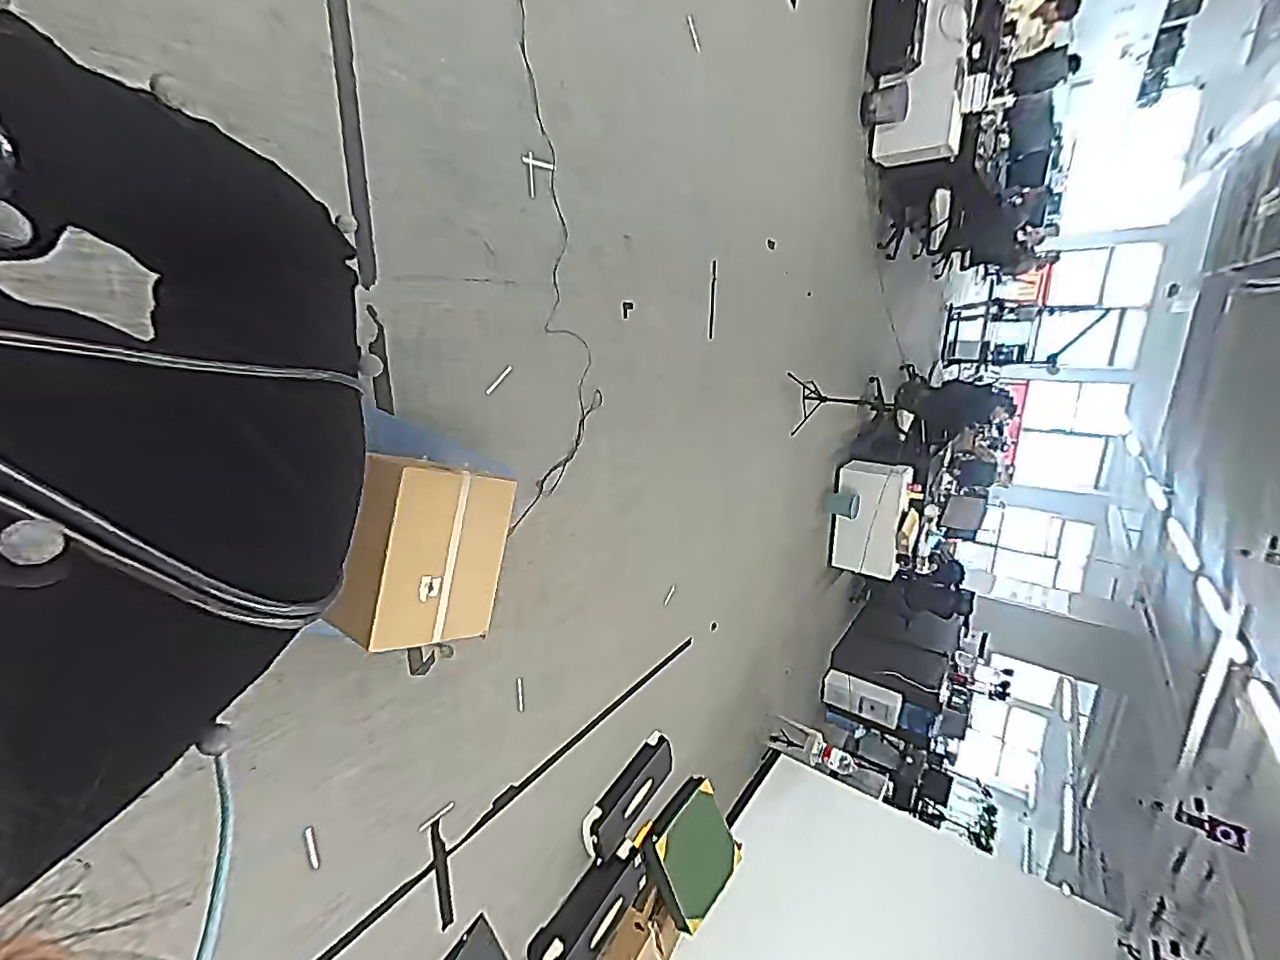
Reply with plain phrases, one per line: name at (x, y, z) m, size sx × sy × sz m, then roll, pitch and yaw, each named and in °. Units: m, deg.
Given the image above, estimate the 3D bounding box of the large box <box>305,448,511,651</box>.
large box at (-0.567, 0.152, 1.330) m, size 0.320 × 0.320 × 0.408 m, roll 11°, pitch 91°, yaw -53°
